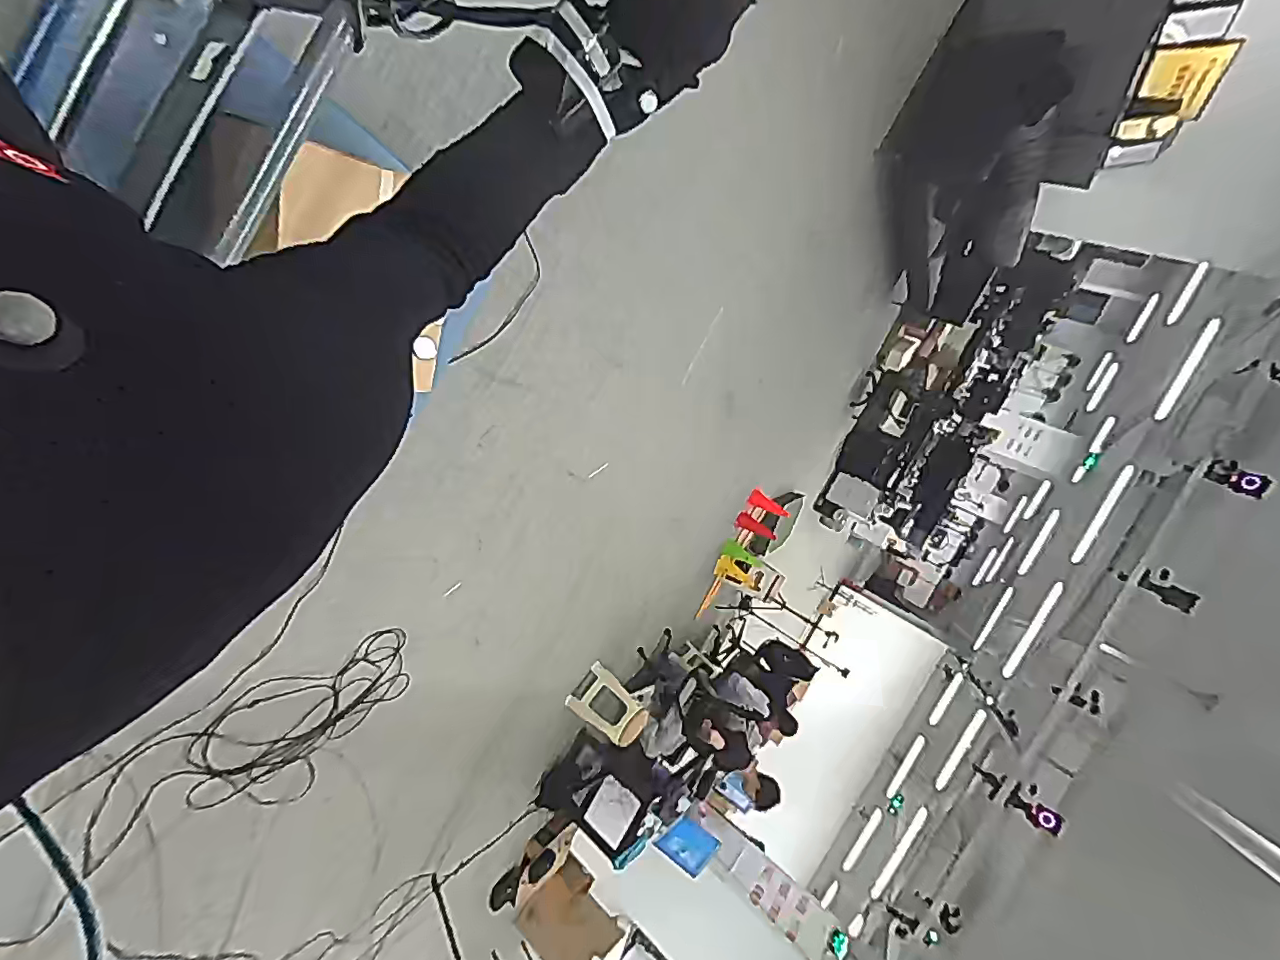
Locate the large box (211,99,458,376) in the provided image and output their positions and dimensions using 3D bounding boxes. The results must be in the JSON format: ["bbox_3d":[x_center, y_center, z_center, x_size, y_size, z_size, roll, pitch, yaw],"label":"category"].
[{"bbox_3d":[-0.606,-0.447,1.062,0.320,0.320,0.408,-12,126,-53],"label":"large box"}]
